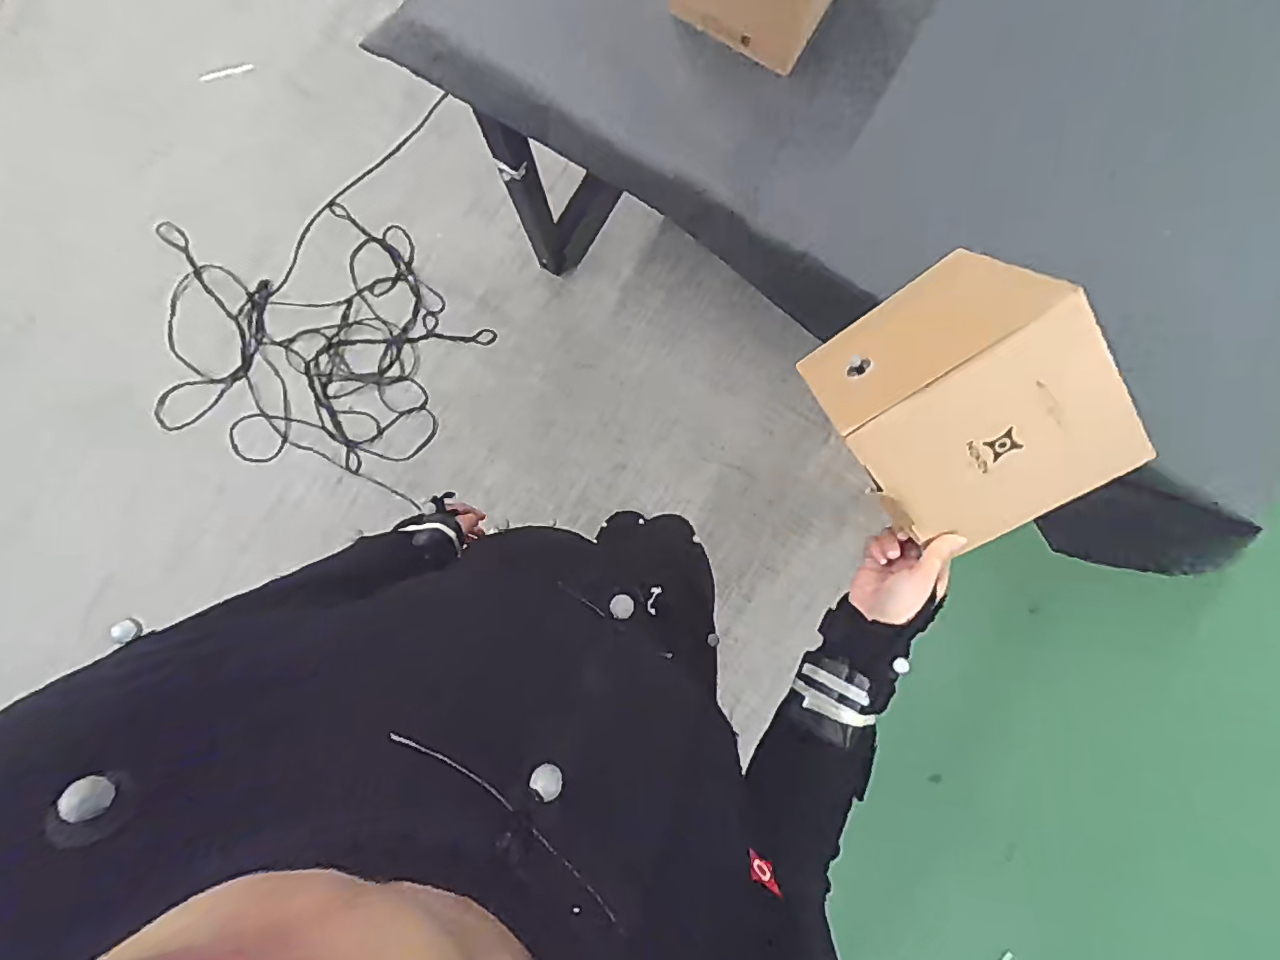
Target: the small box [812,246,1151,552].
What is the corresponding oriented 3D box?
[{"bbox_3d":[0.273,-0.076,0.479,0.179,0.176,0.168,-37,114,21],"label":"small box"}]
